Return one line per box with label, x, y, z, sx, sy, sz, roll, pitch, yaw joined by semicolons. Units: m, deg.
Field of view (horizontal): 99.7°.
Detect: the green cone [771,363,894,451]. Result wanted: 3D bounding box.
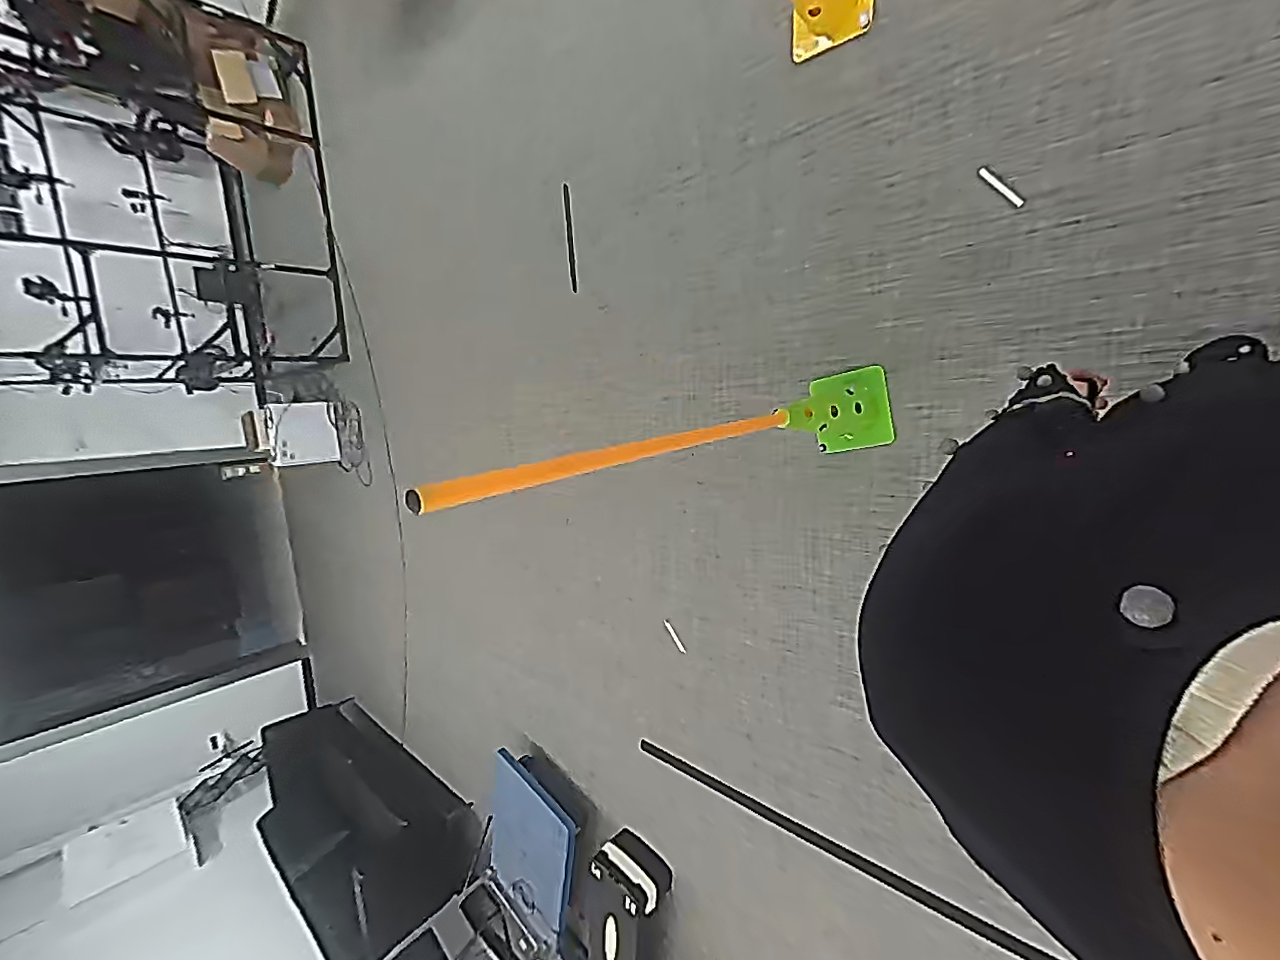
green cone;0.423;-0.163;1.269;0.200;0.368;0.202;-10;90;45
